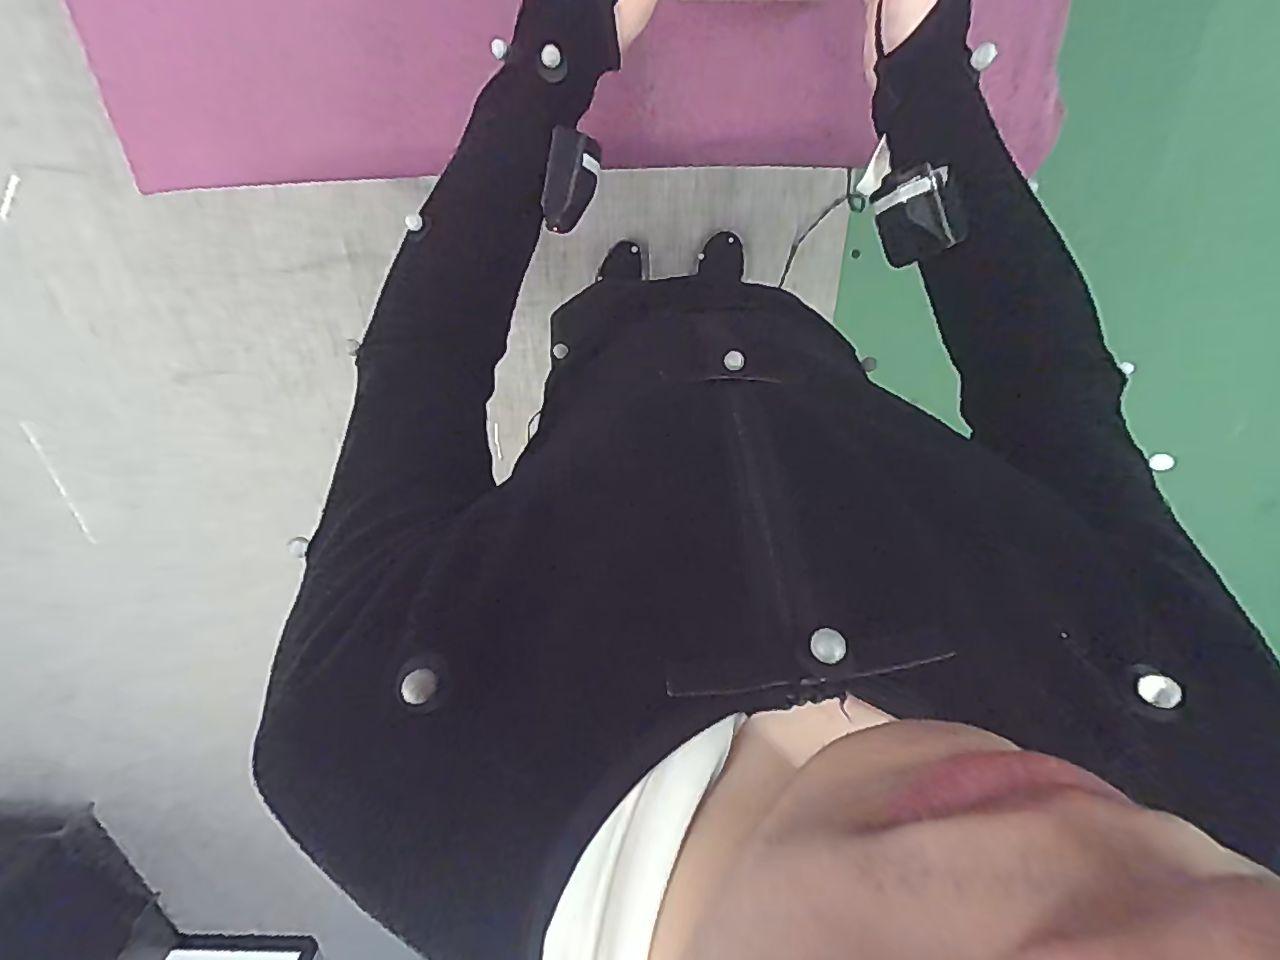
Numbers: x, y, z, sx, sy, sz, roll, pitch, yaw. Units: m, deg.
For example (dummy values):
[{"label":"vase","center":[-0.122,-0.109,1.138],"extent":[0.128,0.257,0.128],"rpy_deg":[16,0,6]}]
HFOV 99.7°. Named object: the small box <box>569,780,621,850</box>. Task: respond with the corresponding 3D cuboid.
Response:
[{"label":"small box","center":[-0.175,1.310,2.119],"extent":[0.179,0.176,0.168],"rpy_deg":[7,117,-2]}]
